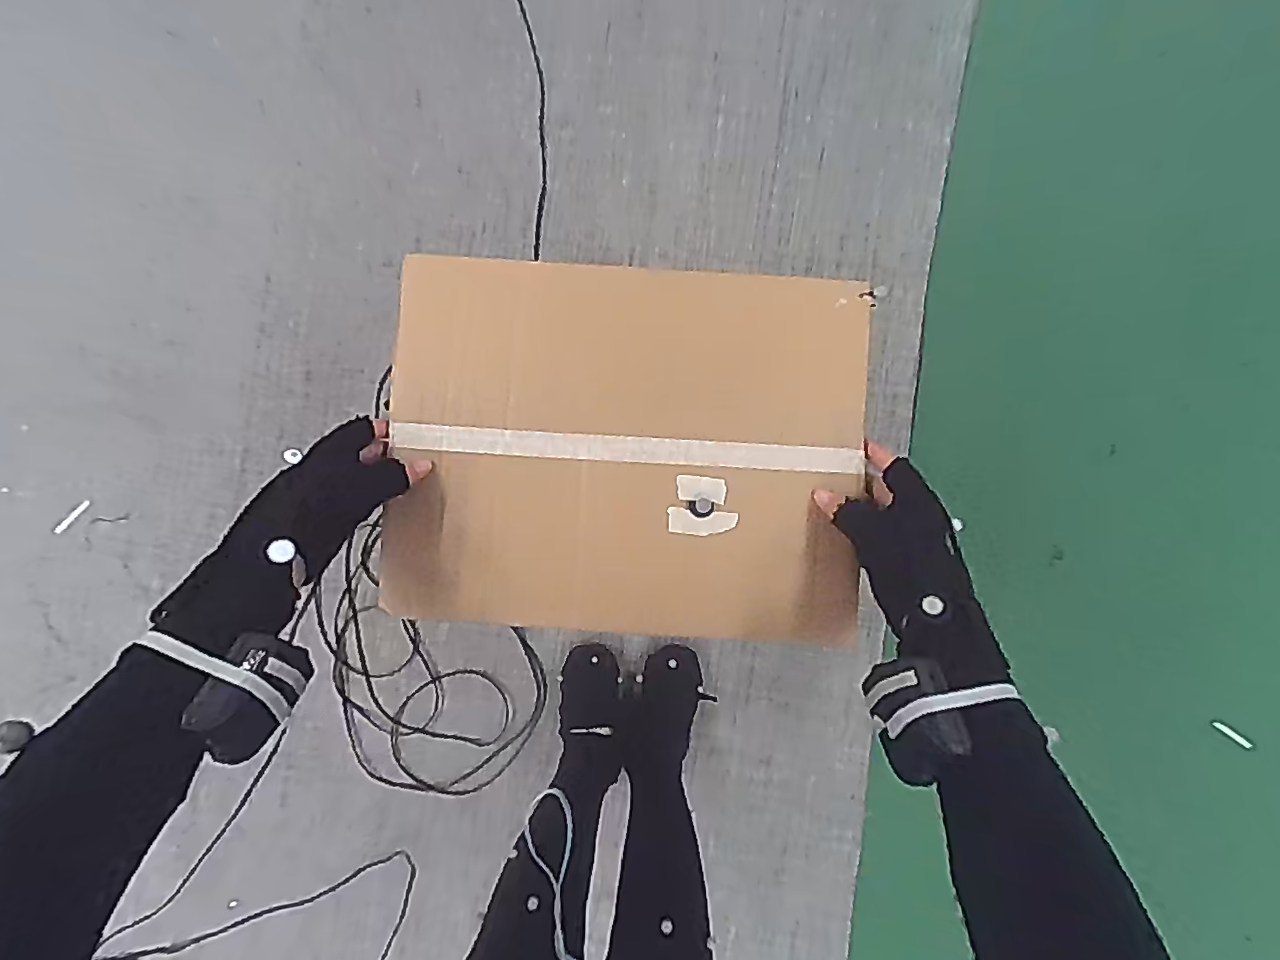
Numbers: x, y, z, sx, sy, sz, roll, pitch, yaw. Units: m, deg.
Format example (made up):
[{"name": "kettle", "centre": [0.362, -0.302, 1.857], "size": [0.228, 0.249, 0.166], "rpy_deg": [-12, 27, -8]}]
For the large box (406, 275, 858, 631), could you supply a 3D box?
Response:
[{"name": "large box", "centre": [-0.007, -0.019, 0.636], "size": [0.408, 0.320, 0.320], "rpy_deg": [4, 88, 0]}]
